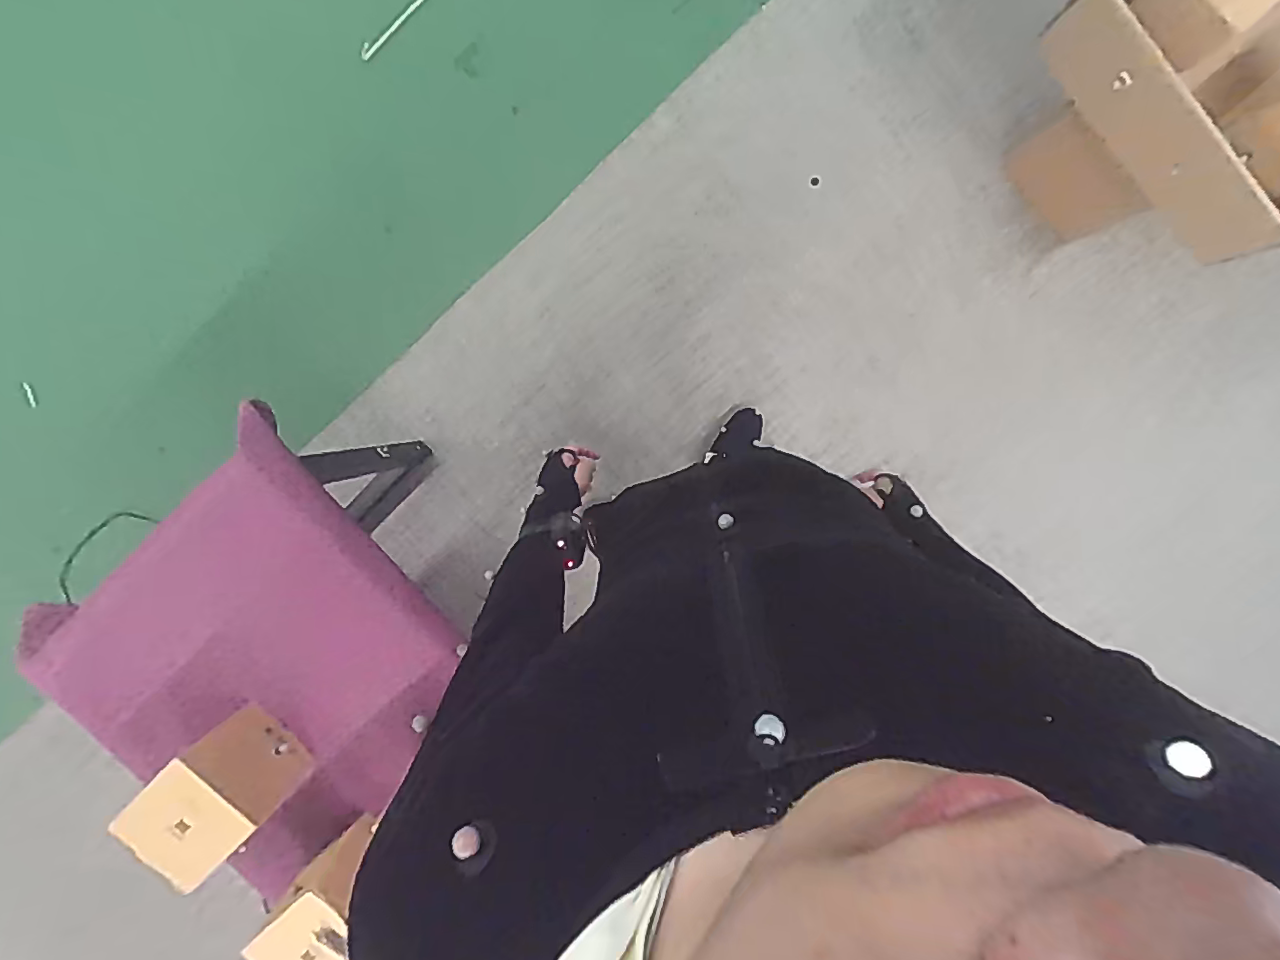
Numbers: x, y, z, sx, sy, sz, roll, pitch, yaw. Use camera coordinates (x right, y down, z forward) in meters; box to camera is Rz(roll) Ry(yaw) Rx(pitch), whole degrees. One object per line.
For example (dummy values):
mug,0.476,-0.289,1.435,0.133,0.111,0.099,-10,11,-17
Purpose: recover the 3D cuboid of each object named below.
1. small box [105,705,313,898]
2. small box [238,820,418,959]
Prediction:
small box,-0.700,0.522,0.901,0.179,0.176,0.168,-44,94,5
small box,-0.509,0.733,0.918,0.179,0.176,0.168,-43,93,6
